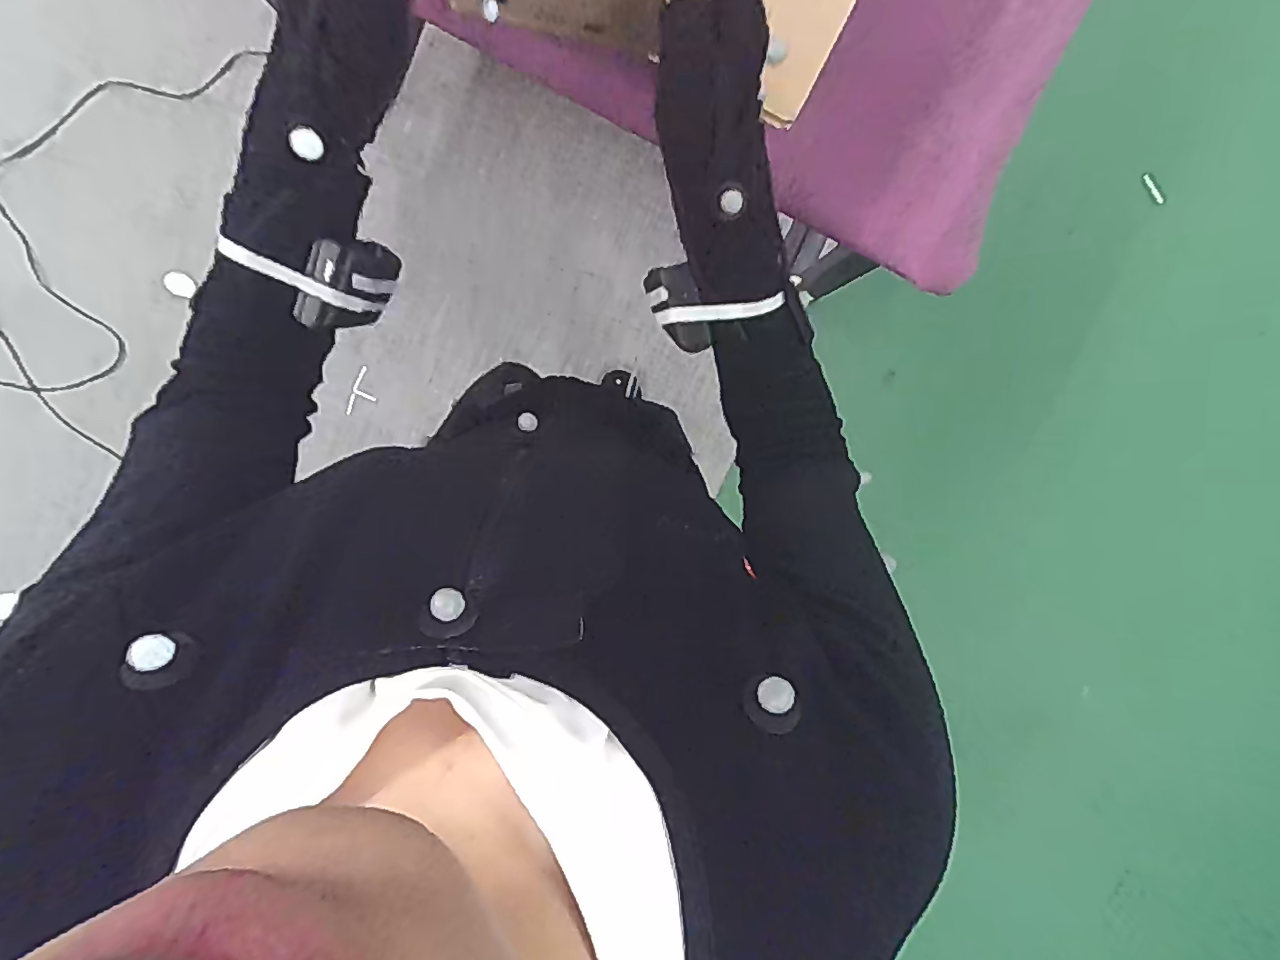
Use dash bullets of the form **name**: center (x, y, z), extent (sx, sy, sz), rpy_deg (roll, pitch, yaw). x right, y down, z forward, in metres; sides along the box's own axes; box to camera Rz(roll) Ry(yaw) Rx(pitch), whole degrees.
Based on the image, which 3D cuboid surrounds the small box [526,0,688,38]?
- **small box**: center (-0.030, -0.402, 0.306), extent (0.168, 0.176, 0.179), rpy_deg (6, 104, -9)
